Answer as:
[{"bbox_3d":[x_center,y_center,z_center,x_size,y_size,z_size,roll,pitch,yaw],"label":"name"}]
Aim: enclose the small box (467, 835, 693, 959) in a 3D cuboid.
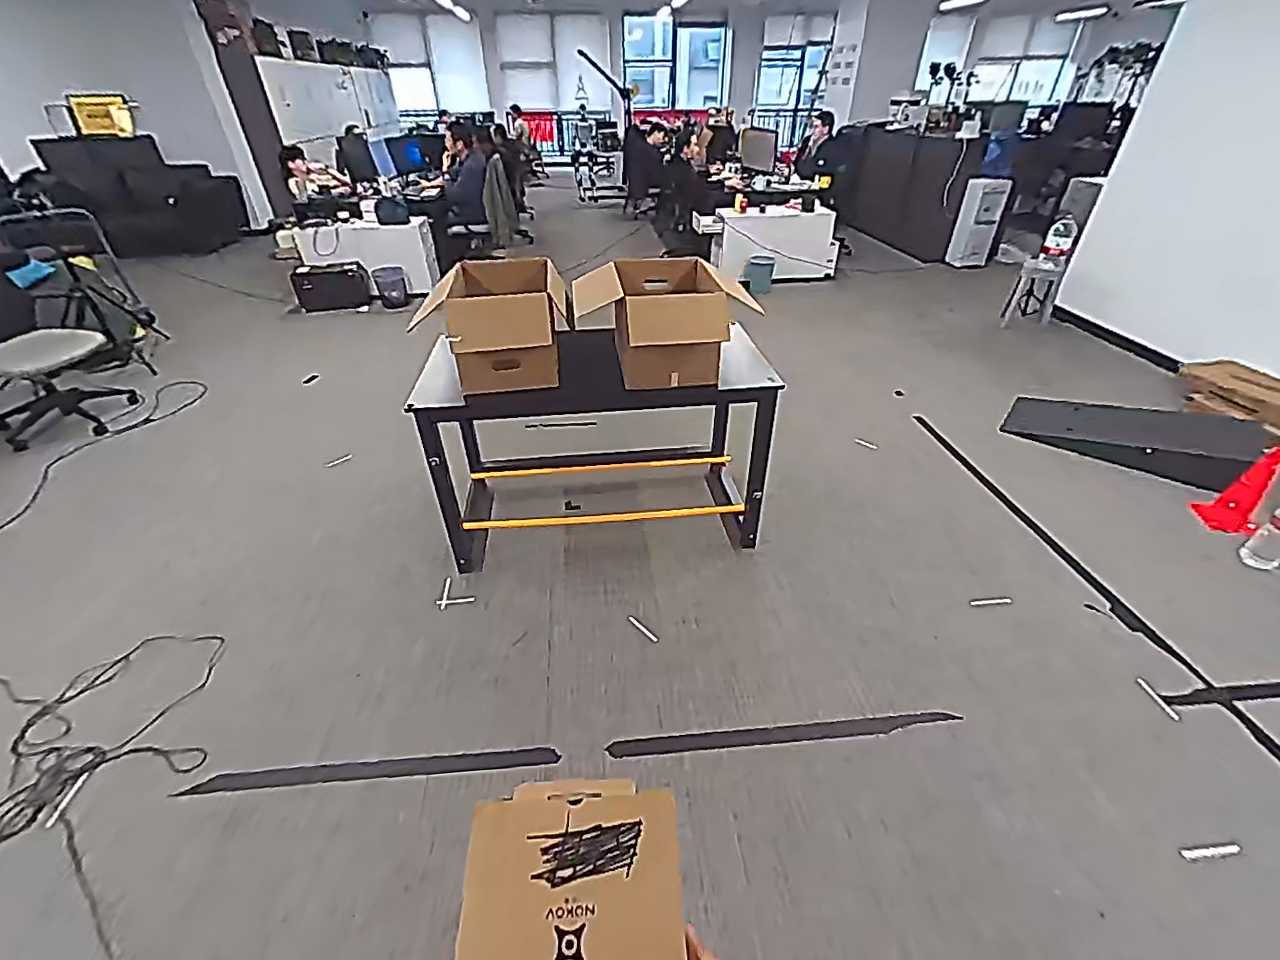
[{"bbox_3d":[-0.043,0.411,0.436,0.168,0.176,0.179,-2,46,-2],"label":"small box"}]
